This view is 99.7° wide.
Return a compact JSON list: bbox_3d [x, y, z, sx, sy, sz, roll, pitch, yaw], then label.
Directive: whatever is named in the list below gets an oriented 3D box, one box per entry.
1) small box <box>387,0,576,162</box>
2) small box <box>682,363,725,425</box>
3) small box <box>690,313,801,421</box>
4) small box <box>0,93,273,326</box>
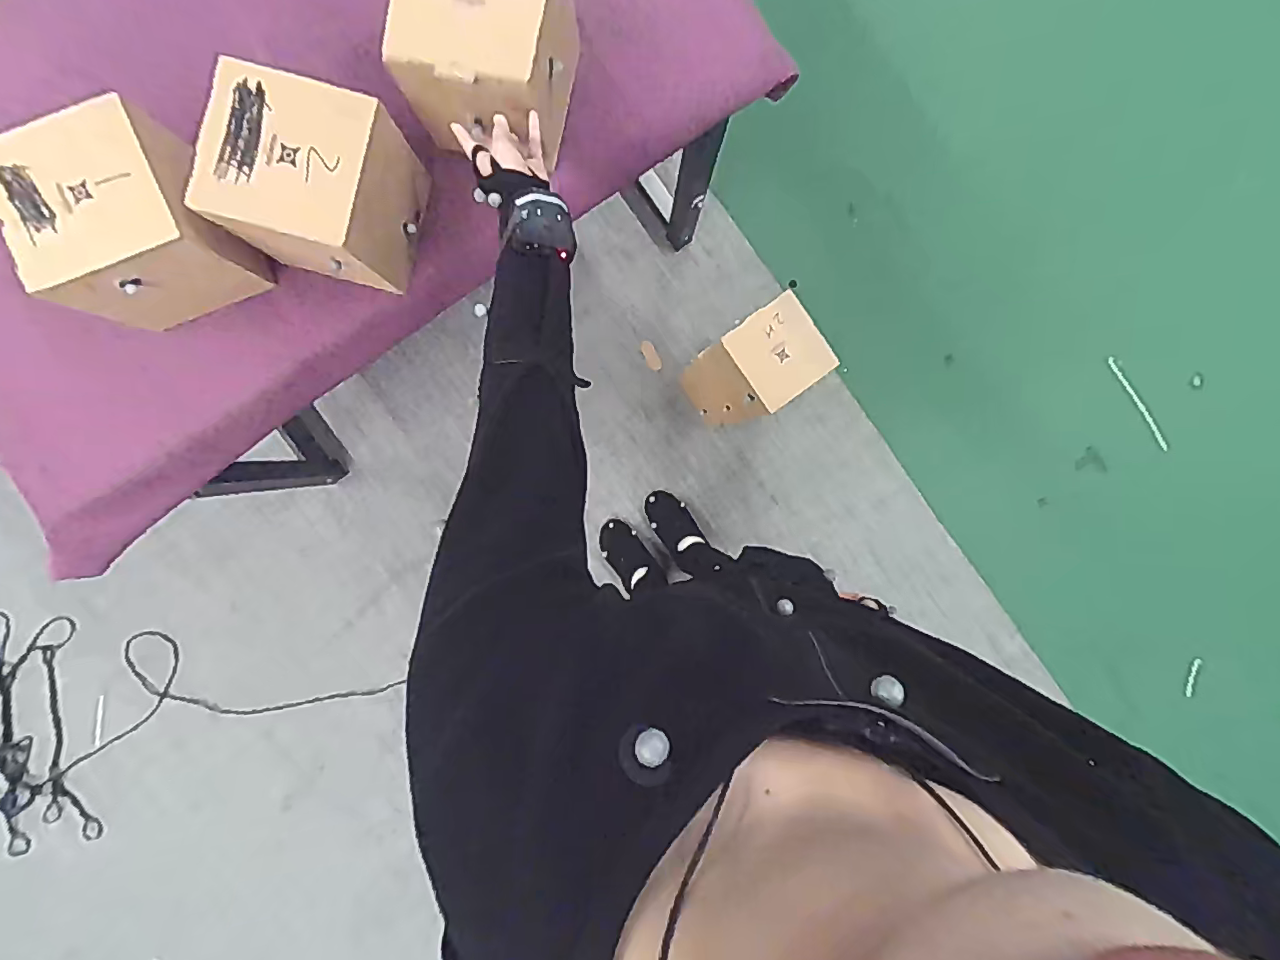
[{"bbox_3d":[-0.176,-0.526,0.656,0.168,0.176,0.179,11,91,-2],"label":"small box"},{"bbox_3d":[0.222,-0.257,1.413,0.179,0.176,0.168,-34,93,-1],"label":"small box"},{"bbox_3d":[0.234,-0.251,1.252,0.168,0.176,0.179,-36,95,-1],"label":"small box"},{"bbox_3d":[-0.602,-0.306,0.653,0.179,0.176,0.168,-22,93,-2],"label":"small box"}]
